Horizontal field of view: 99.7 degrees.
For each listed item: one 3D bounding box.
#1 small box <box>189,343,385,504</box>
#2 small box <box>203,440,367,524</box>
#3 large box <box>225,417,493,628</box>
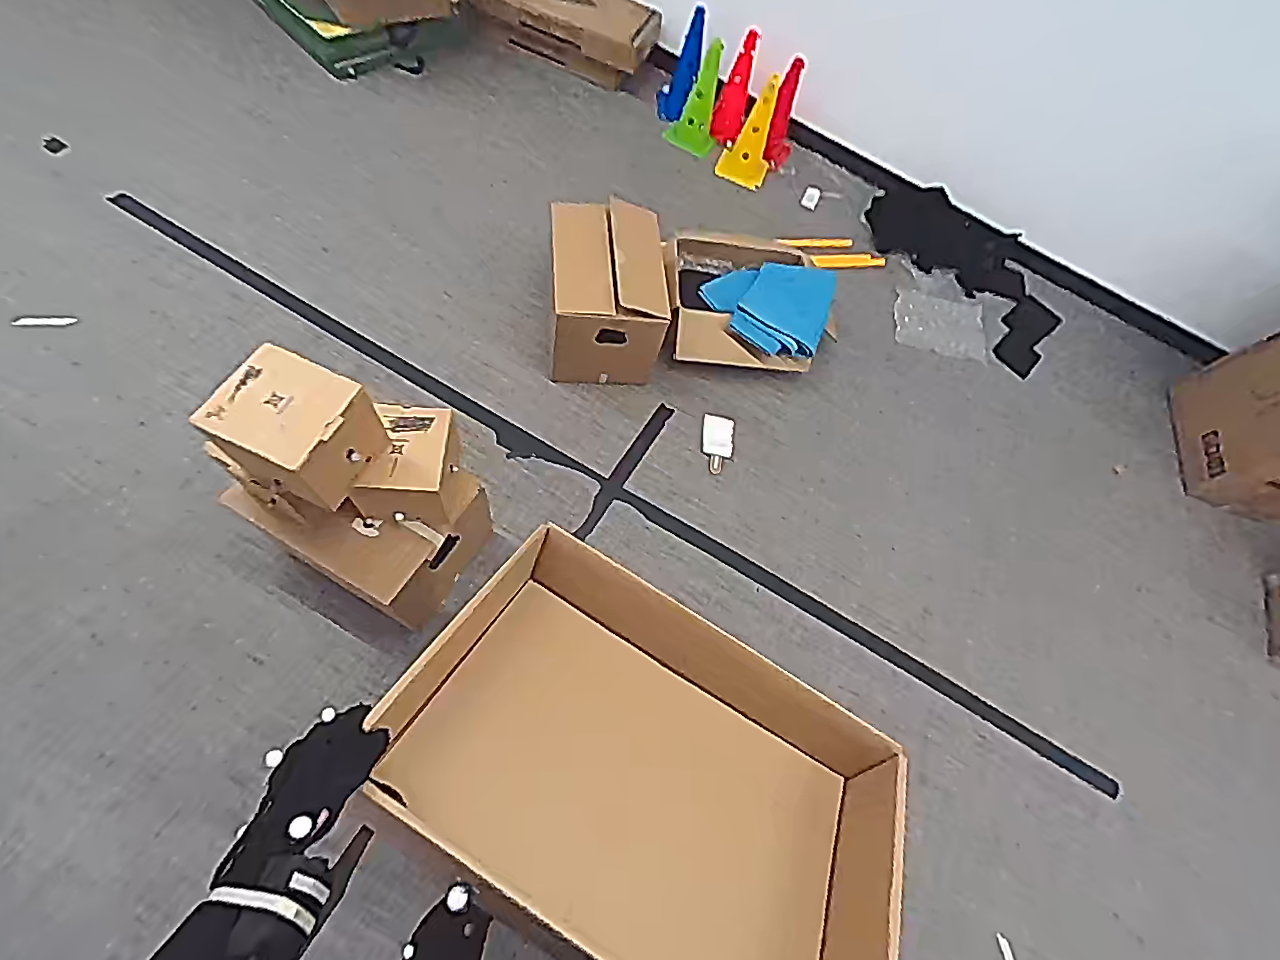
[{"bbox_3d":[-0.547,-0.079,0.872,0.179,0.176,0.168,25,64,1],"label":"small box"},{"bbox_3d":[-0.649,-0.044,1.019,0.168,0.176,0.179,30,62,1],"label":"small box"},{"bbox_3d":[-0.599,0.086,1.240,0.408,0.320,0.320,30,64,2],"label":"large box"}]
